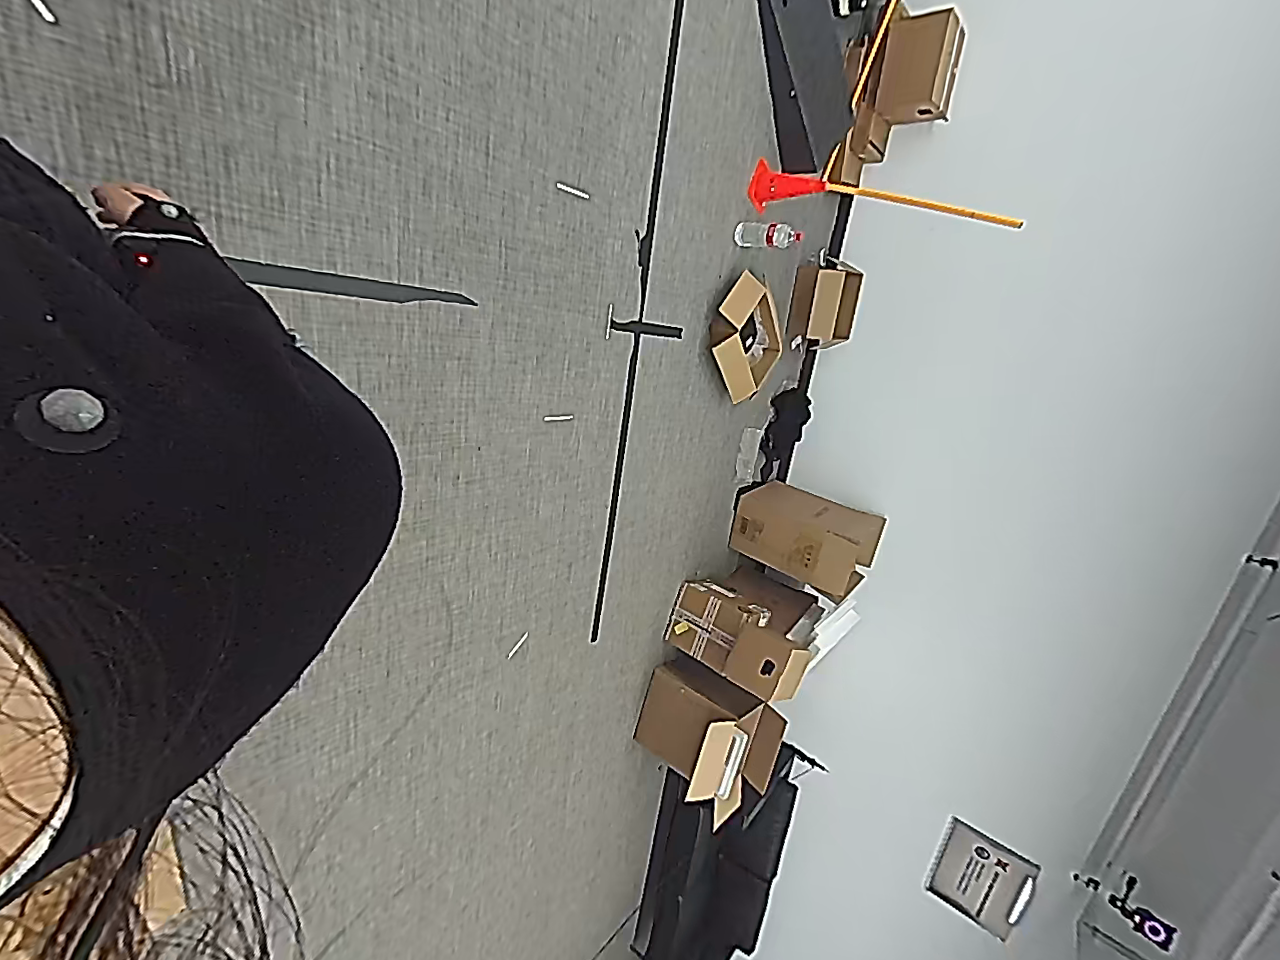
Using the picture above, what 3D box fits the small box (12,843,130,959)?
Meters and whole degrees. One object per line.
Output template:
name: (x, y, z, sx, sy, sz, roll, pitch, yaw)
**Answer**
small box: (-1.312, 0.987, 1.249, 0.168, 0.176, 0.179, -10, 115, -50)
